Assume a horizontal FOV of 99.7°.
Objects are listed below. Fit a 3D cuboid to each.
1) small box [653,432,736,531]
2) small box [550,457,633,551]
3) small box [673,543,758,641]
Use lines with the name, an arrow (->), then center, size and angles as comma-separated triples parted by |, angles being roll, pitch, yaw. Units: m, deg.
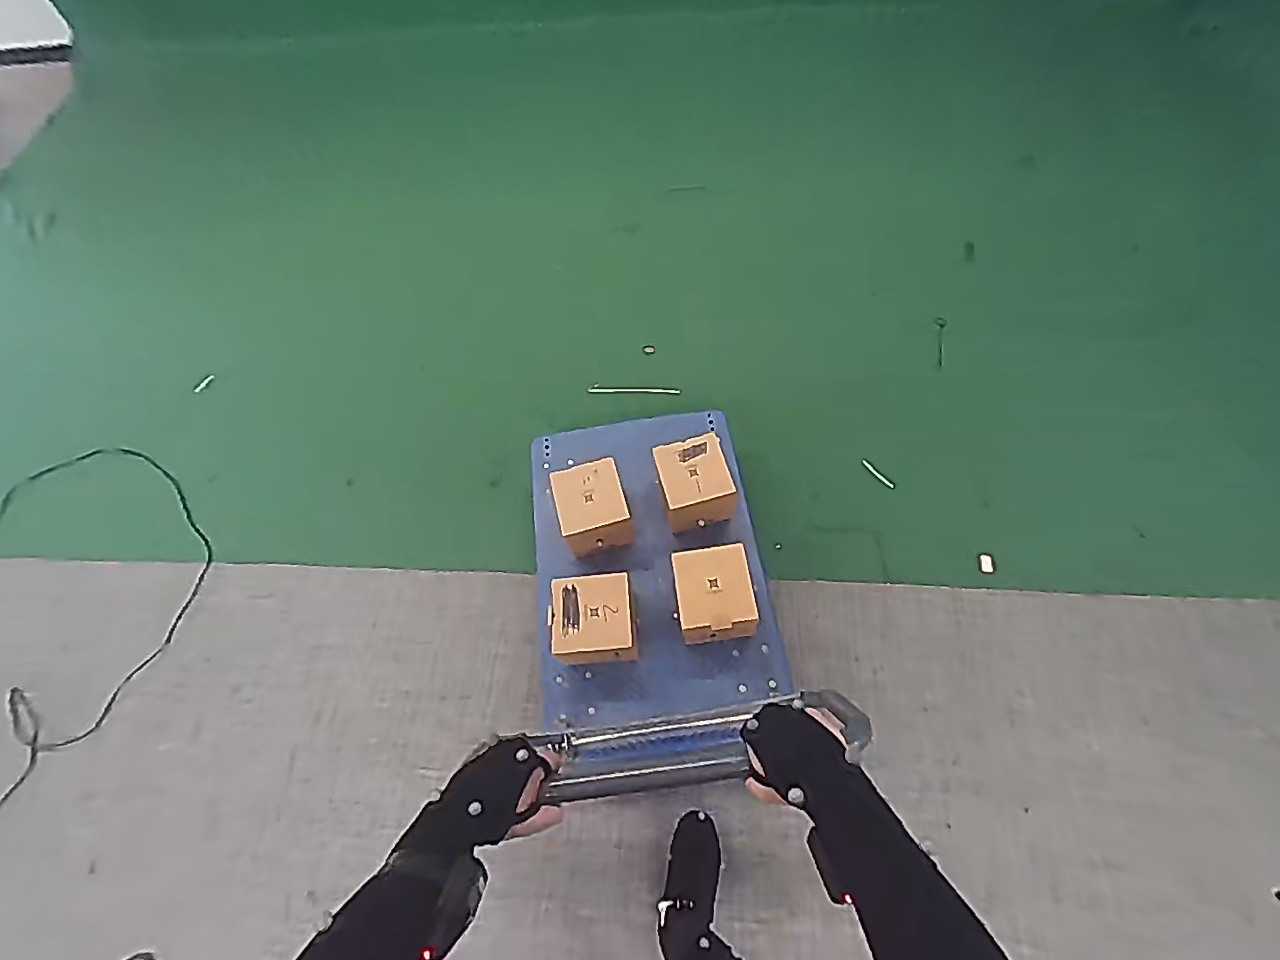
small box -> 0.135, 0.008, 1.383 | 0.168, 0.176, 0.179 | -15, 64, -2
small box -> -0.118, 0.070, 1.375 | 0.168, 0.176, 0.179 | -15, 64, -3
small box -> 0.167, 0.263, 1.257 | 0.168, 0.176, 0.179 | -8, 64, 1
